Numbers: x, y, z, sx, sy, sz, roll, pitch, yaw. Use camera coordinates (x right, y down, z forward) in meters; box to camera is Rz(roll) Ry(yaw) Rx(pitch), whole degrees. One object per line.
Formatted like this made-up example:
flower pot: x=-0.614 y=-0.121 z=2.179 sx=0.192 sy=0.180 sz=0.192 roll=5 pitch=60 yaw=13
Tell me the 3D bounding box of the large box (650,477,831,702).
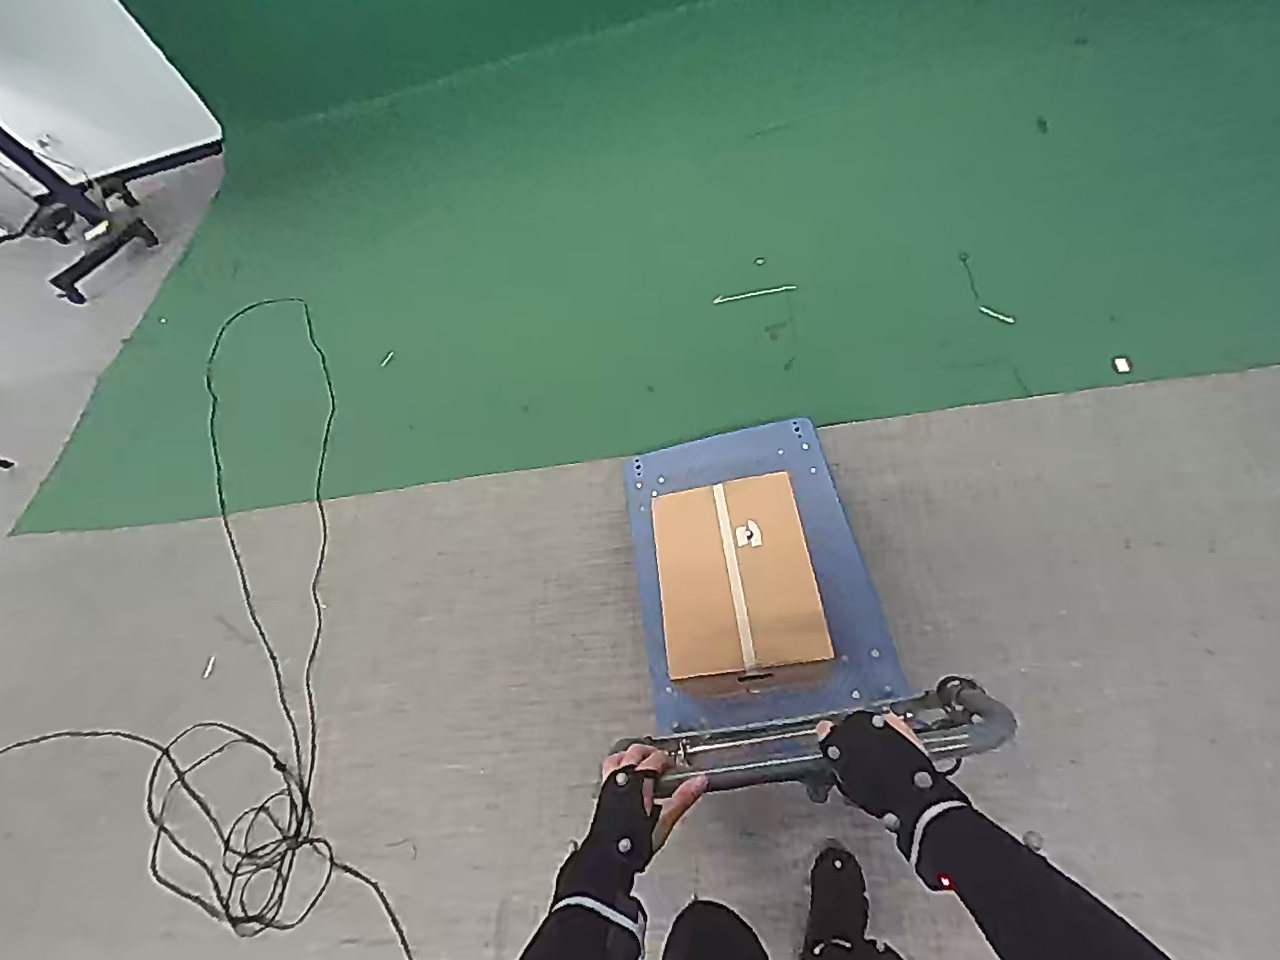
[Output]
large box: x=0.225 y=0.262 z=1.245 sx=0.320 sy=0.320 sz=0.408 roll=-11 pitch=59 yaw=9
